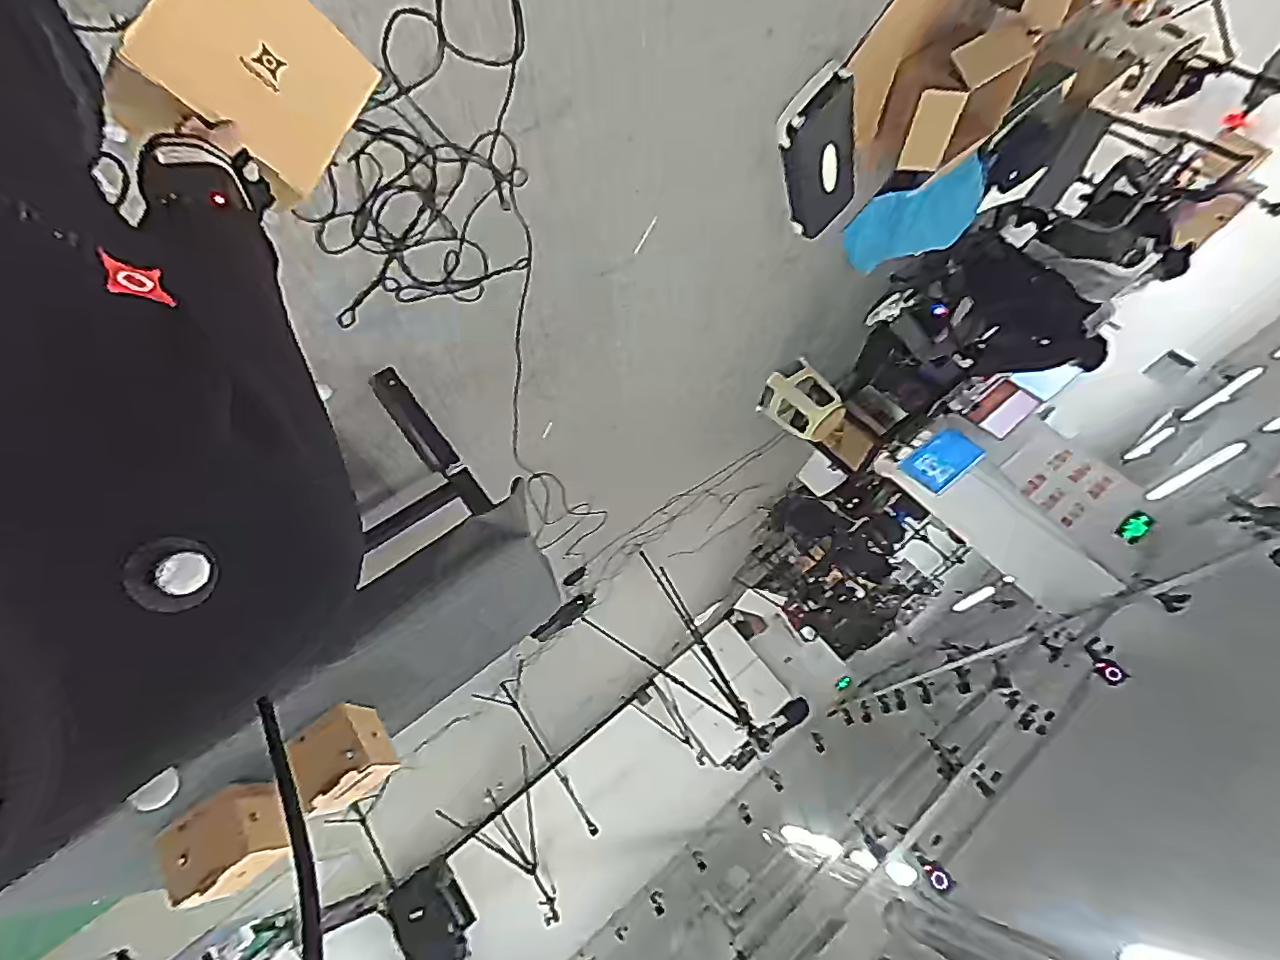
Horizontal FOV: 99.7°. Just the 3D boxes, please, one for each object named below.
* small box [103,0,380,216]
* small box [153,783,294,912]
[{"bbox_3d":[-0.424,-0.418,0.577,0.168,0.176,0.179,35,73,-48],"label":"small box"},{"bbox_3d":[-0.939,0.815,1.221,0.168,0.176,0.179,-34,157,-16],"label":"small box"}]
